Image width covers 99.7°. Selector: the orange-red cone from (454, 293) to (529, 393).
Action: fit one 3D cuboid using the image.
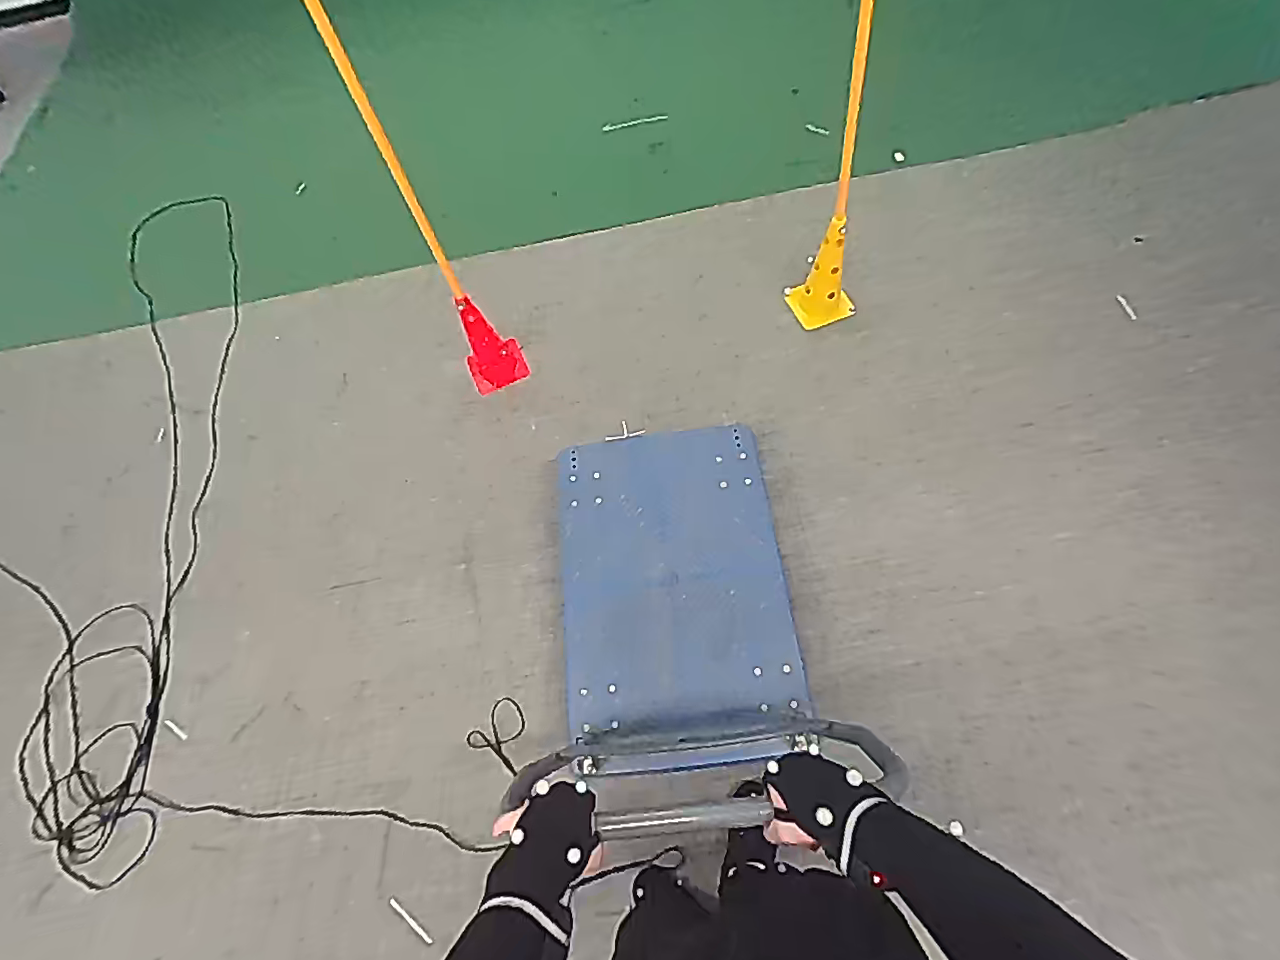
[{"bbox_3d":[-0.538,-0.489,1.824,0.199,0.360,0.198,-25,64,-4],"label":"orange-red cone"}]
